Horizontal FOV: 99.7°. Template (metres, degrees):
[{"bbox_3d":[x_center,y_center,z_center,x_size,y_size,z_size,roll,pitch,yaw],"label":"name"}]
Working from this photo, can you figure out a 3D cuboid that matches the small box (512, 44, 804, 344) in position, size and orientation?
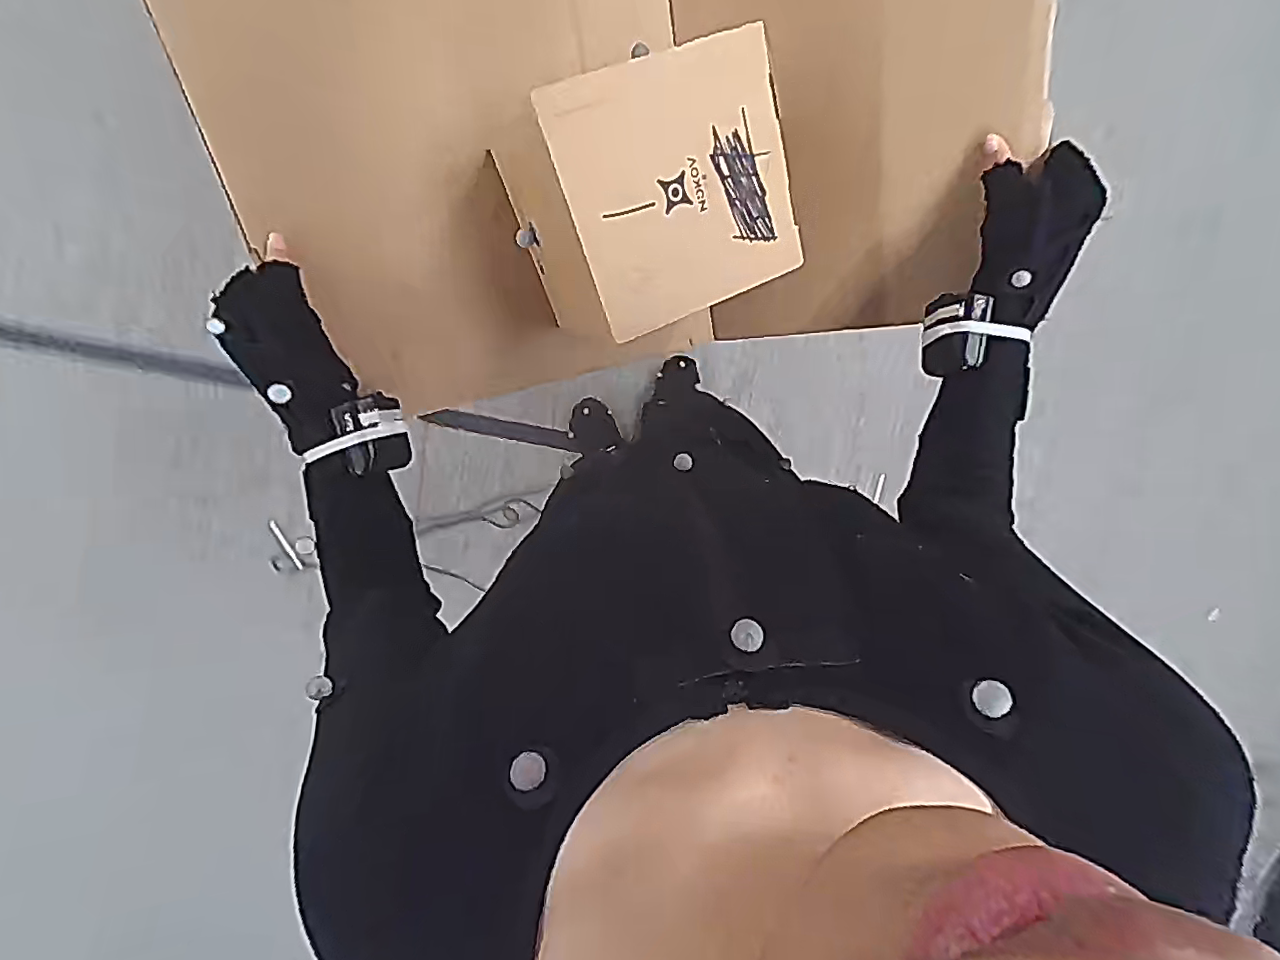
[{"bbox_3d":[0.010,-0.233,0.466,0.179,0.176,0.168,-25,117,-13],"label":"small box"}]
